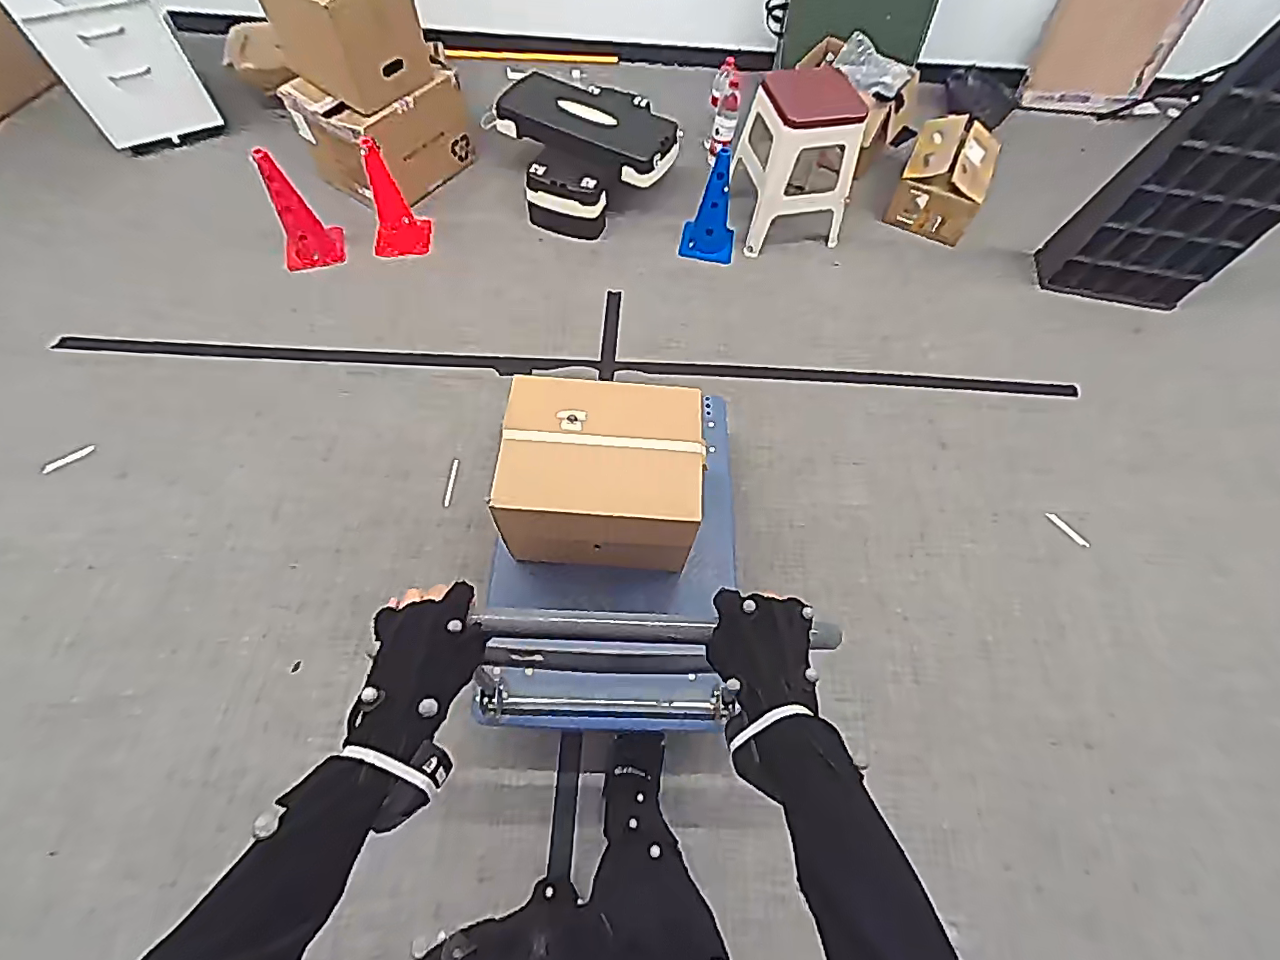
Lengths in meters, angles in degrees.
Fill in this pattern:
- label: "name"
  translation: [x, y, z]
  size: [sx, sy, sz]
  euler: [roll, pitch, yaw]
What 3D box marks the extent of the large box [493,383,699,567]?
- label: "large box"
  translation: [-0.082, 0.002, 1.236]
  size: [0.408, 0.320, 0.320]
  euler: [4, 63, 0]
